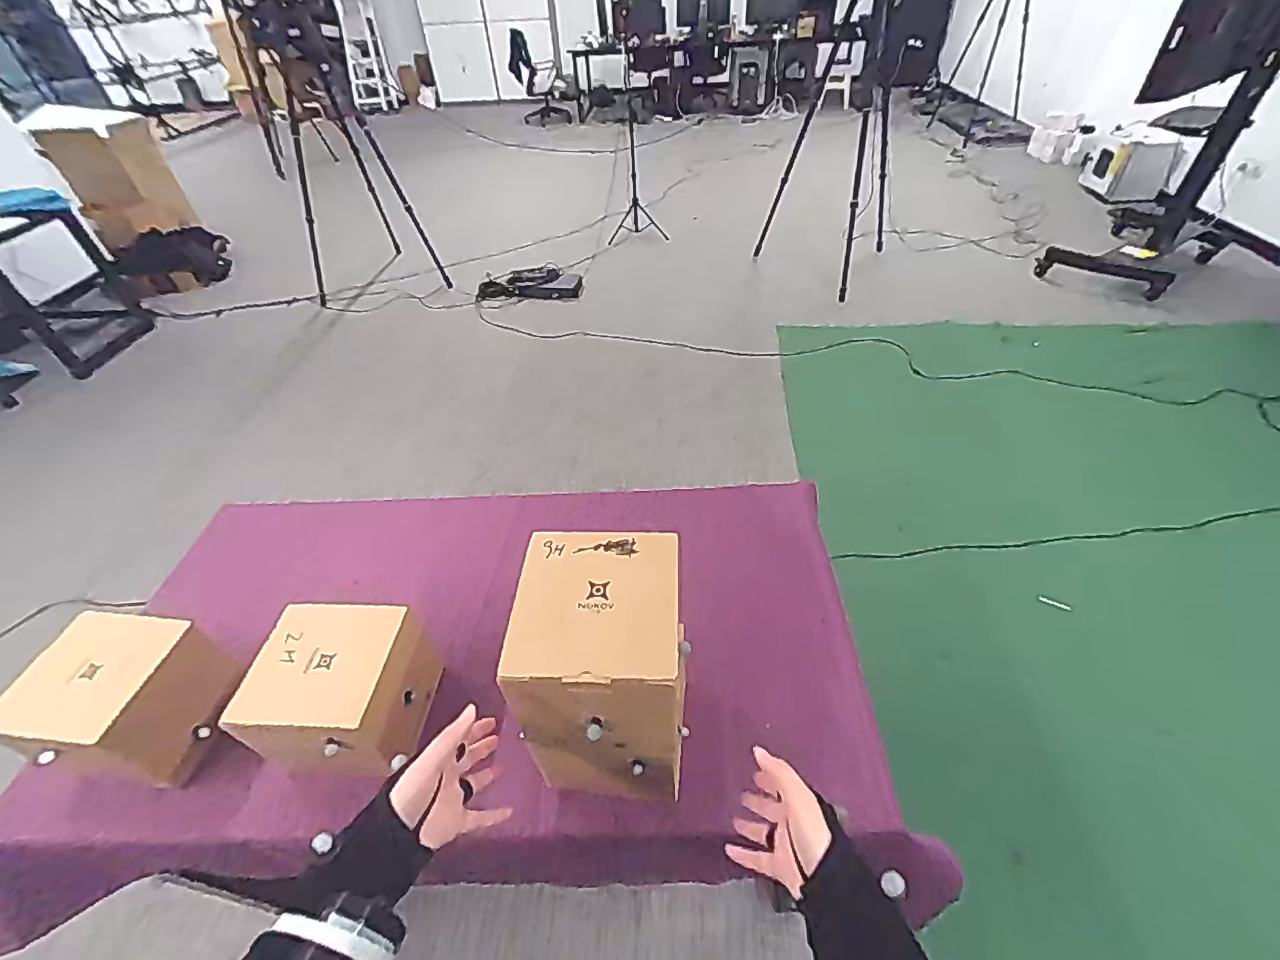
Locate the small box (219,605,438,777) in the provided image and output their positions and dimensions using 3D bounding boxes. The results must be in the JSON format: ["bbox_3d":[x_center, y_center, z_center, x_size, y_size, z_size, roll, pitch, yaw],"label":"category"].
[{"bbox_3d":[-0.403,0.291,0.743,0.179,0.176,0.168,0,43,4],"label":"small box"}]

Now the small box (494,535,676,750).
[{"bbox_3d":[-0.044,0.180,0.597,0.168,0.176,0.179,0,45,4],"label":"small box"}]

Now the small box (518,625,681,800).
[{"bbox_3d":[-0.039,0.299,0.711,0.179,0.176,0.168,3,44,7],"label":"small box"}]

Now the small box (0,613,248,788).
[{"bbox_3d":[-0.703,0.306,0.750,0.179,0.176,0.168,4,45,7],"label":"small box"}]
